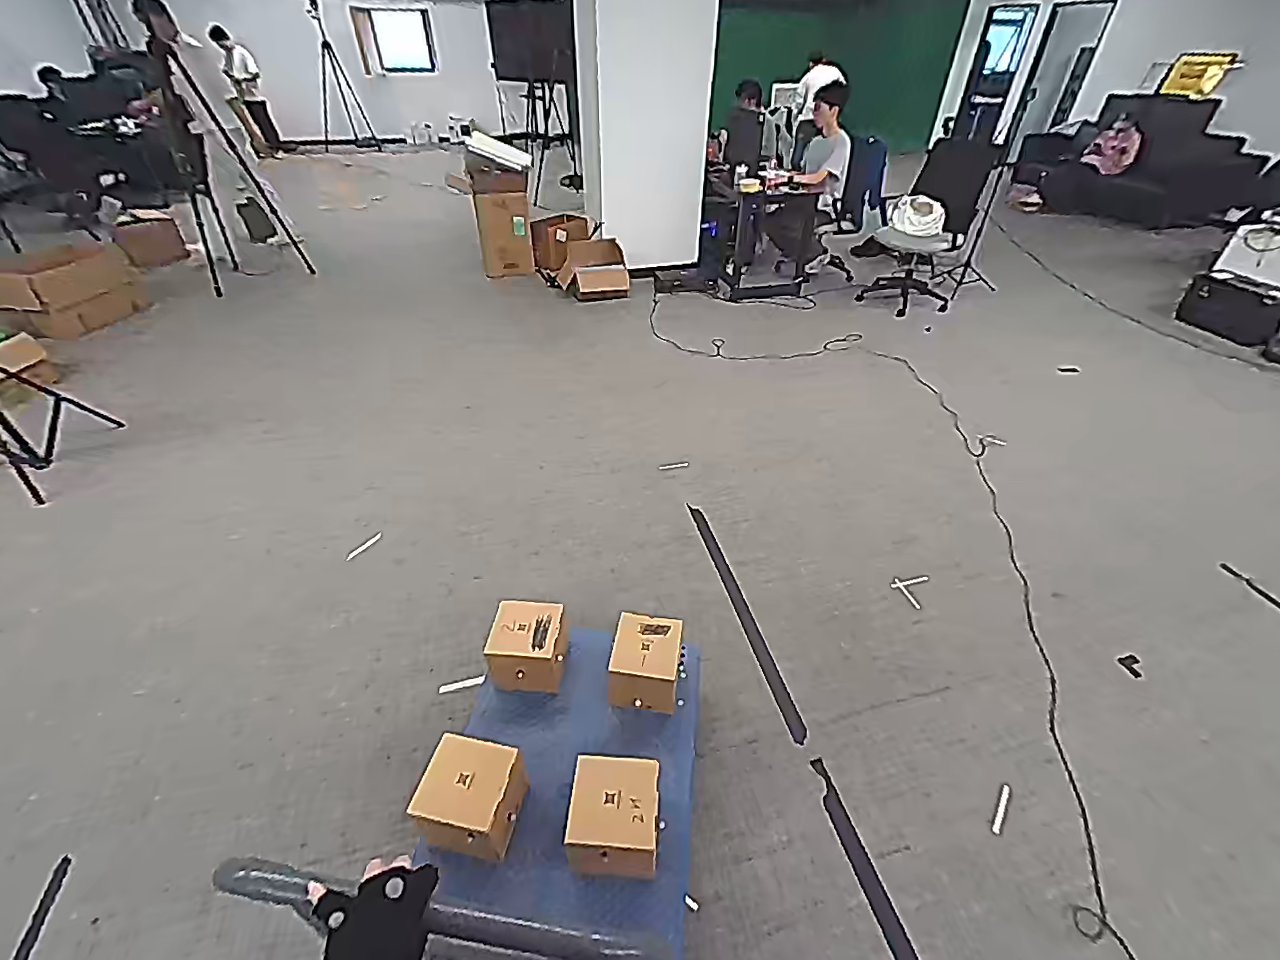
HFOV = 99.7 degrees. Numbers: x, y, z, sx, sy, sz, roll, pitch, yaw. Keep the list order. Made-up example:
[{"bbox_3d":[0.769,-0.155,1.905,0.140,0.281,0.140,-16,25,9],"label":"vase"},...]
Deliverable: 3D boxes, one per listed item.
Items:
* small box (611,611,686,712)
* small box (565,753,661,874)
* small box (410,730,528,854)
[{"bbox_3d":[0.023,0.471,1.407,0.168,0.176,0.179,6,41,8],"label":"small box"},{"bbox_3d":[-0.050,0.697,1.129,0.179,0.176,0.168,3,39,4],"label":"small box"},{"bbox_3d":[-0.356,0.671,1.161,0.179,0.176,0.168,9,39,8],"label":"small box"}]
